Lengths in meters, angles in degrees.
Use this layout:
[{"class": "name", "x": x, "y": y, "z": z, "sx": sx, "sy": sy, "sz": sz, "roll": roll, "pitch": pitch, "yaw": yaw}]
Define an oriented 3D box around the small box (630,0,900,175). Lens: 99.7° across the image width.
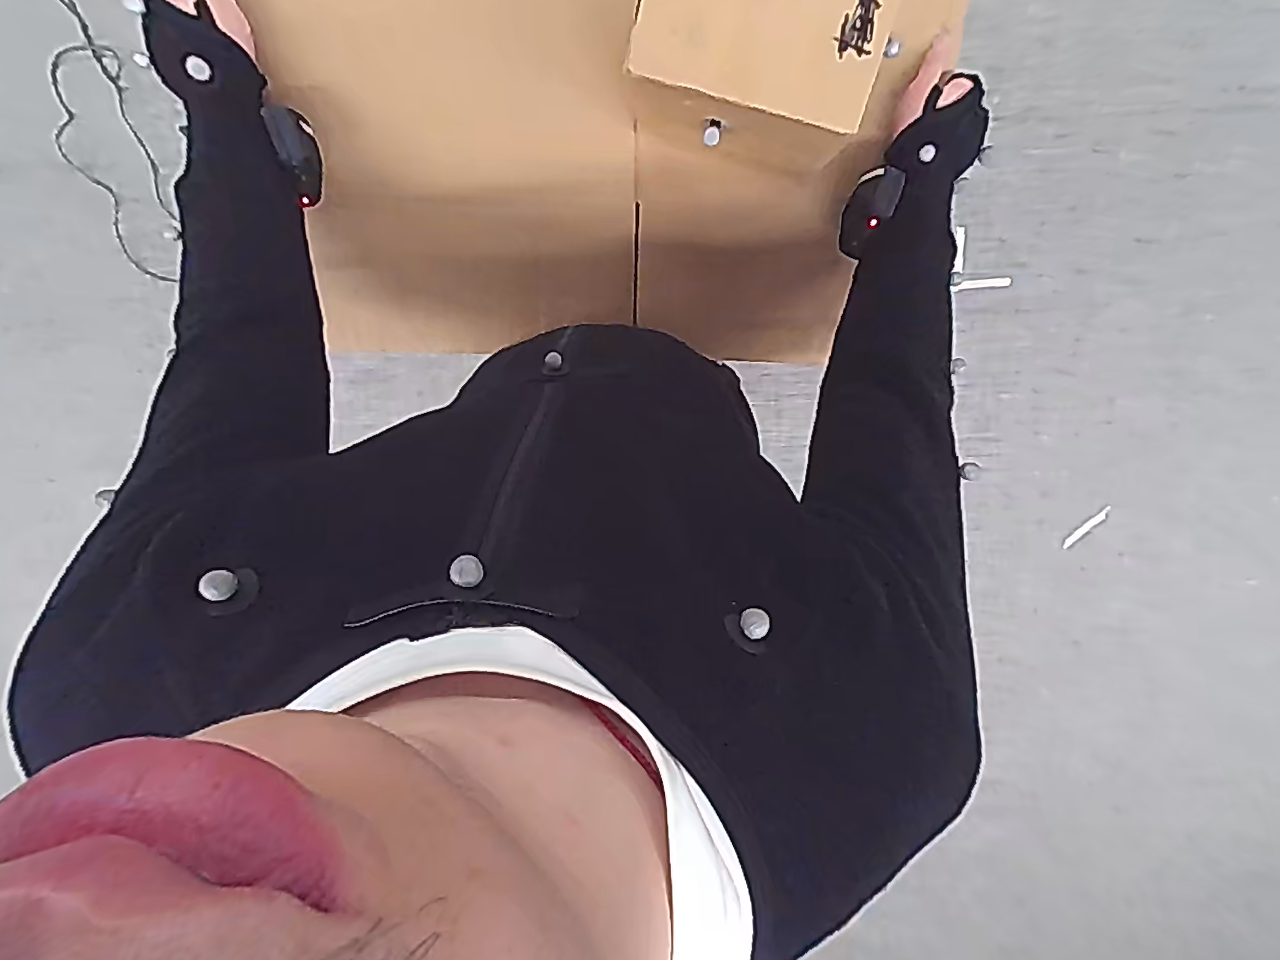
[{"class": "small box", "x": 0.103, "y": -0.375, "z": 0.447, "sx": 0.179, "sy": 0.176, "sz": 0.168, "roll": 15, "pitch": 109, "yaw": 0}]
